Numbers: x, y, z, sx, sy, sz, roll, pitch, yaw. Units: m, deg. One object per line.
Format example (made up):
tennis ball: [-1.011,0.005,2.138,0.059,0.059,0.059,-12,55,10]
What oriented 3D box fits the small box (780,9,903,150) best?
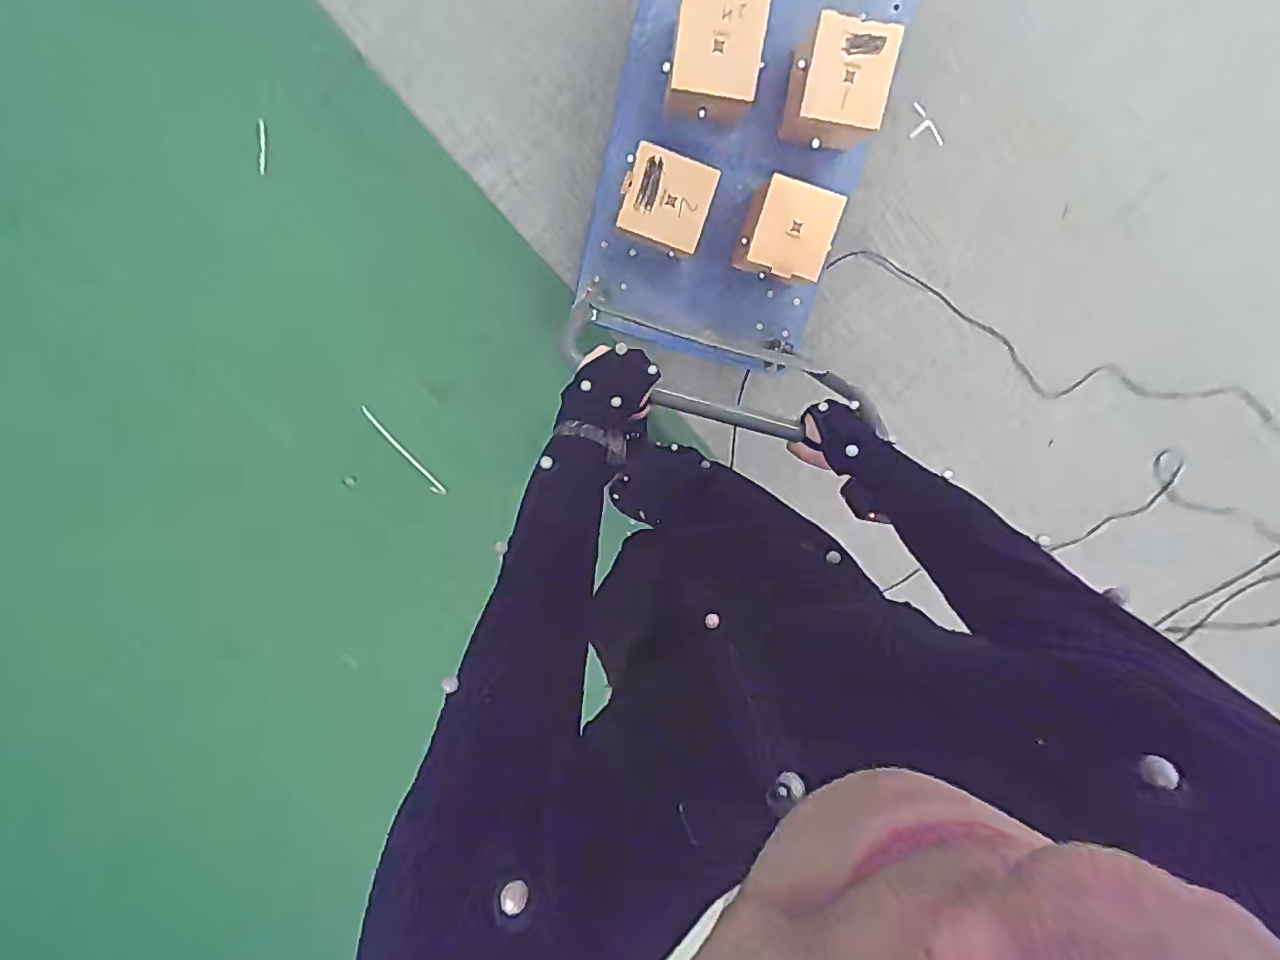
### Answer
small box: [0.404,-0.813,1.117,0.168,0.176,0.179,8,109,-4]

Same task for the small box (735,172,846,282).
small box: [0.323,-0.553,1.205,0.168,0.176,0.179,14,108,-7]

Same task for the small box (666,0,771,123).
small box: [0.147,-0.853,1.094,0.168,0.176,0.179,7,108,-5]
